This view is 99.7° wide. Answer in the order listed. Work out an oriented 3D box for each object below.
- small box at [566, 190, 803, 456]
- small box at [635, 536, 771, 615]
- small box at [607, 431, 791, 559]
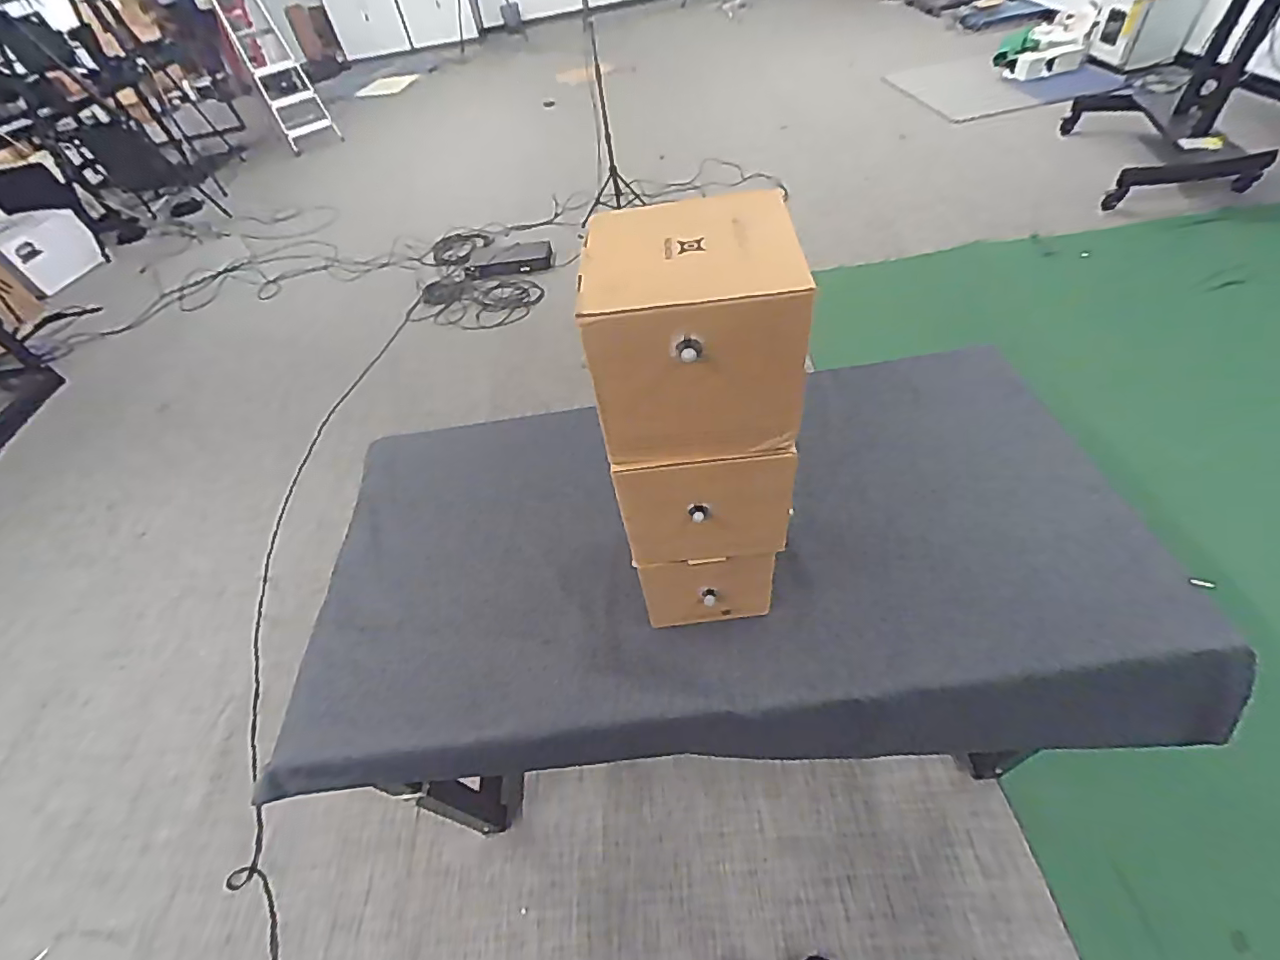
[{"bbox_3d":[0.042,-0.137,0.500,0.179,0.176,0.168,-5,50,5],"label":"small box"},{"bbox_3d":[0.081,0.072,0.747,0.168,0.176,0.179,-9,50,3],"label":"small box"},{"bbox_3d":[0.064,-0.027,0.617,0.179,0.176,0.168,-8,49,6],"label":"small box"}]
